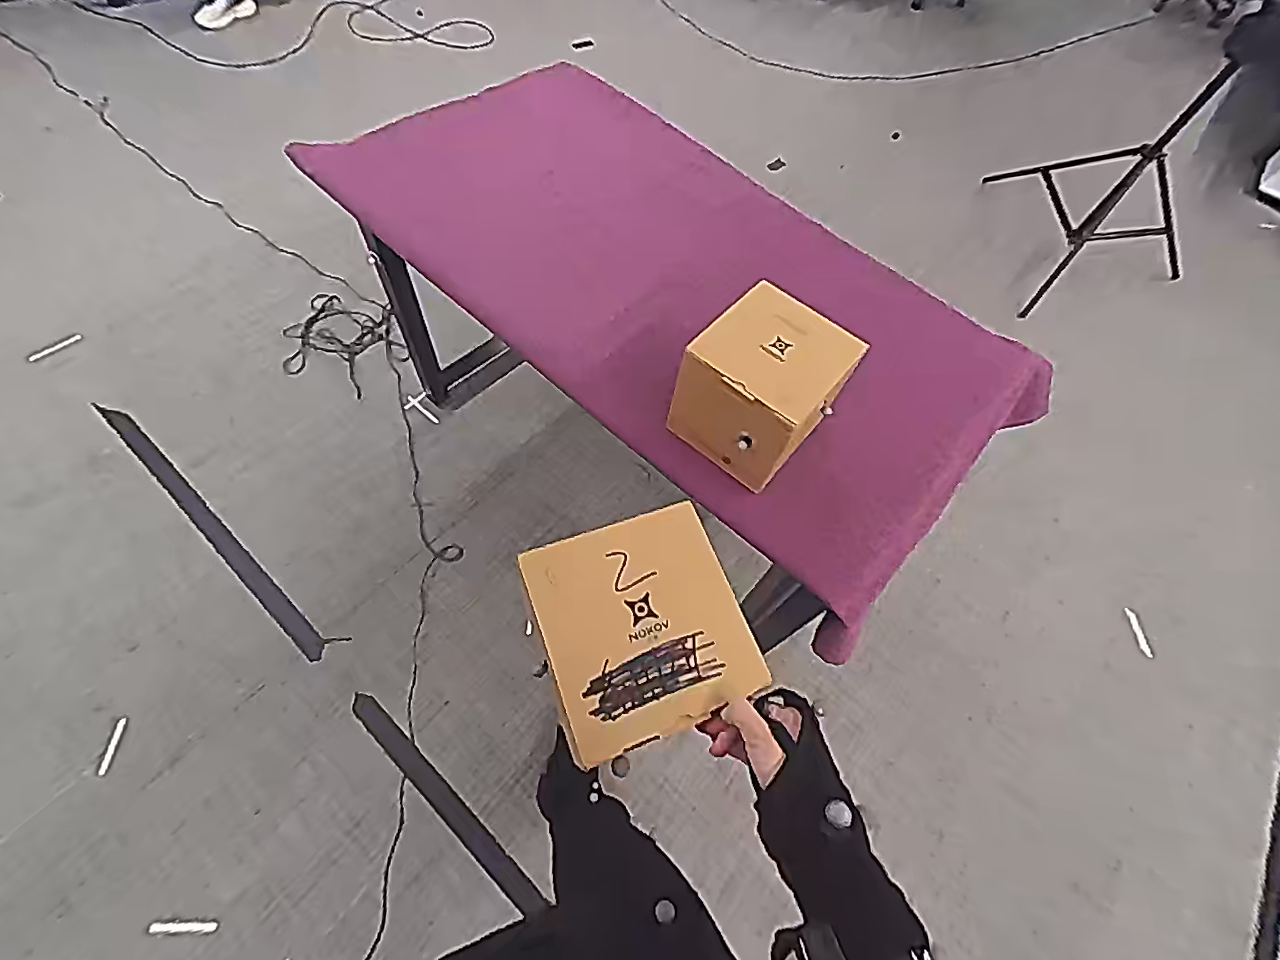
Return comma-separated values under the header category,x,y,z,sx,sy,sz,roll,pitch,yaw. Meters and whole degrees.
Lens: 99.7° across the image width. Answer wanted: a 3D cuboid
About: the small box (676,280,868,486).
category,x,y,z,sx,sy,sz,roll,pitch,yaw
small box,0.163,-0.123,0.728,0.168,0.176,0.179,38,63,13
